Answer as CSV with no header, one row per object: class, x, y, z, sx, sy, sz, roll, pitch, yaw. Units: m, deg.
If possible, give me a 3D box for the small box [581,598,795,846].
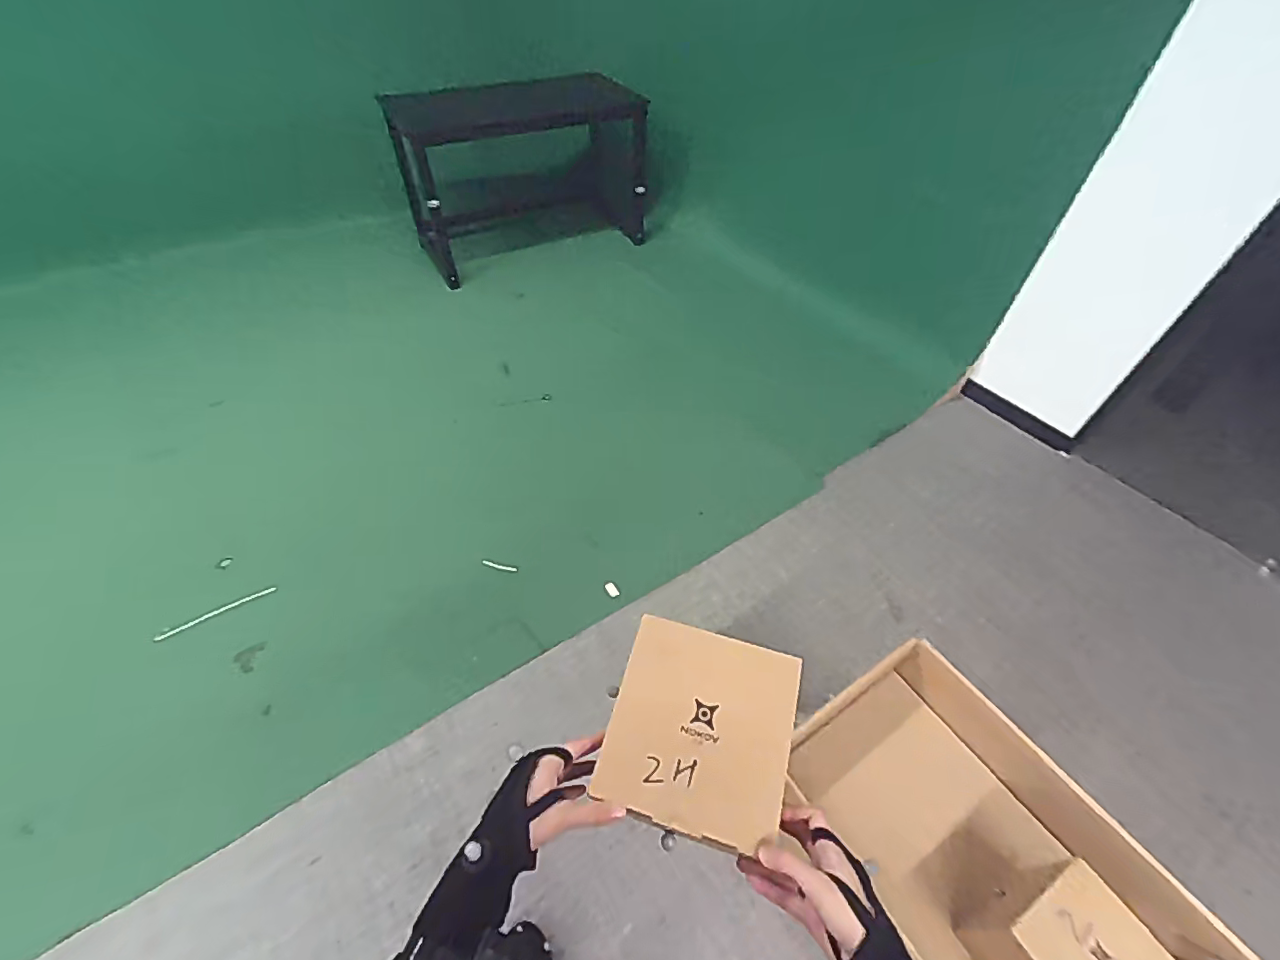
small box,0.050,0.256,0.569,0.168,0.176,0.179,16,57,11
